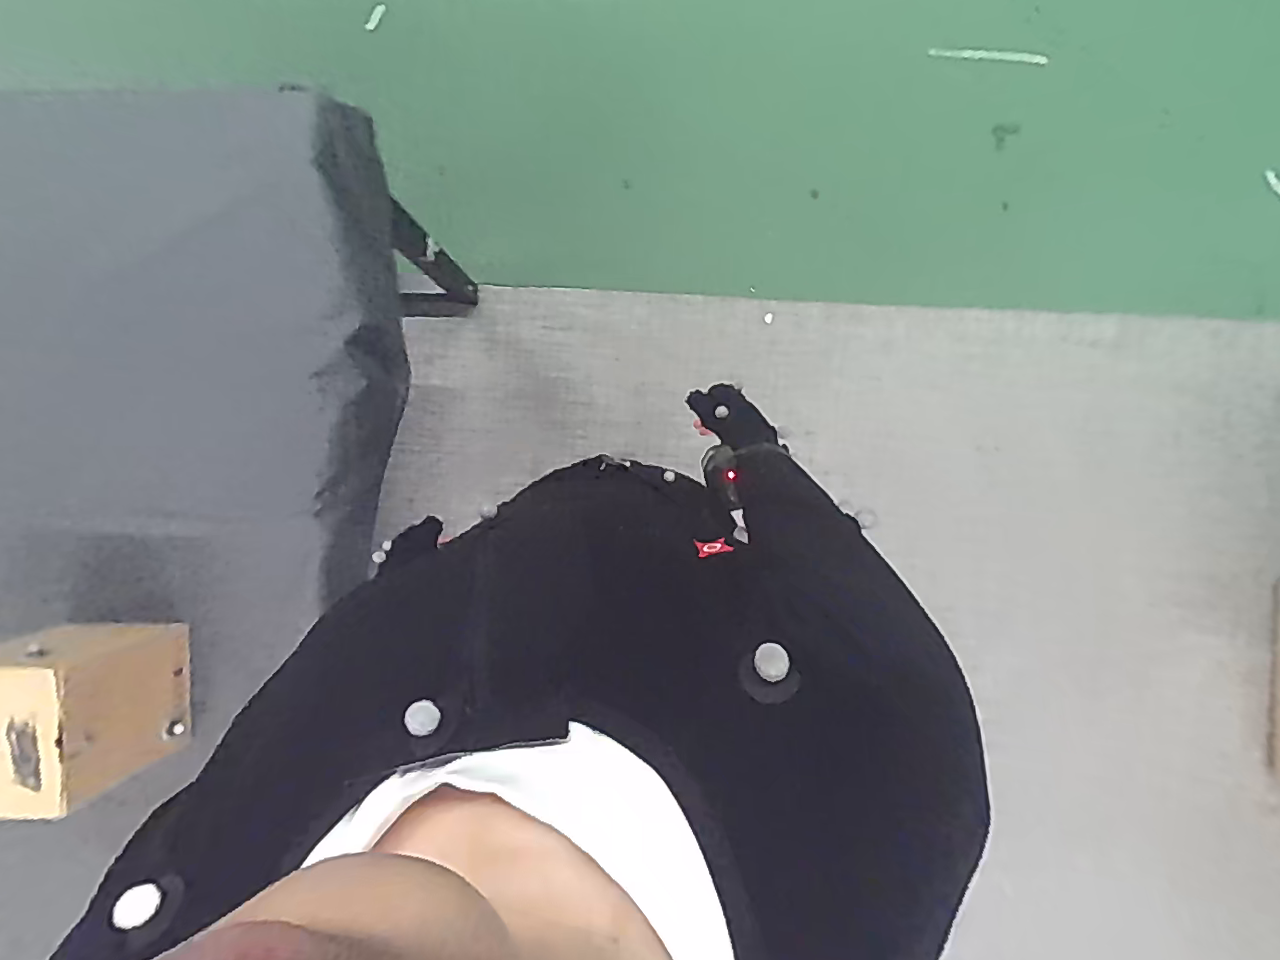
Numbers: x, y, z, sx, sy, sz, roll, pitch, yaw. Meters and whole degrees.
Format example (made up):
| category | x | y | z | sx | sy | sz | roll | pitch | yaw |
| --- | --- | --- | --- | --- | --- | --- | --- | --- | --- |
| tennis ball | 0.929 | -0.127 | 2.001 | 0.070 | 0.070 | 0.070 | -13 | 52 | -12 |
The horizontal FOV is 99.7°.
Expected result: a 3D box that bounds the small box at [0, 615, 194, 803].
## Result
| category | x | y | z | sx | sy | sz | roll | pitch | yaw |
| --- | --- | --- | --- | --- | --- | --- | --- | --- | --- |
| small box | -0.701 | 0.270 | 0.674 | 0.179 | 0.176 | 0.168 | -1 | 92 | 2 |
